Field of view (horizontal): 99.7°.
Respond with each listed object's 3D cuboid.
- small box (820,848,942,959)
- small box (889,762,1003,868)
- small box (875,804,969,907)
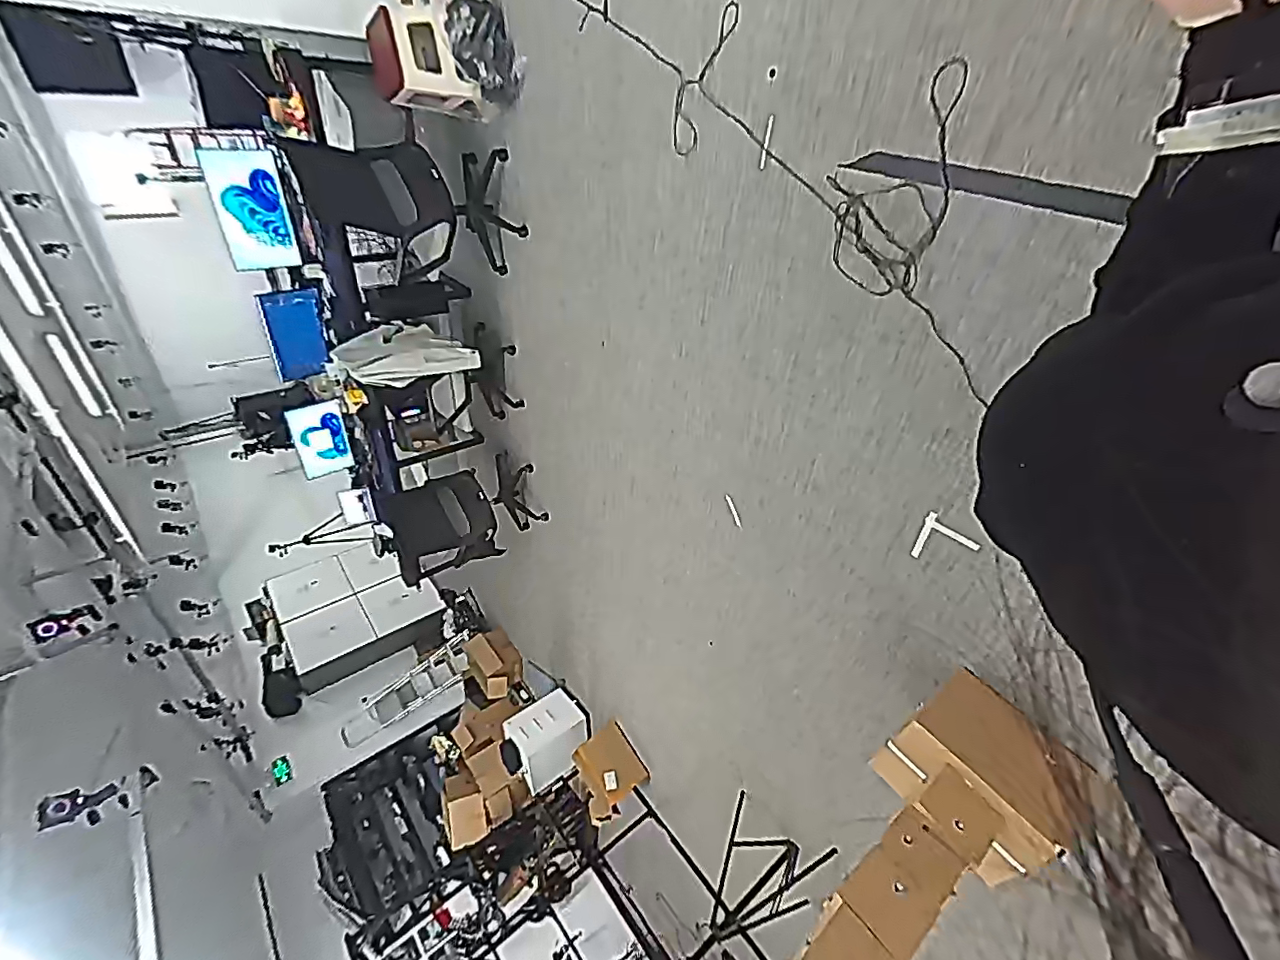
[{"bbox_3d":[0.567,1.017,1.278,0.179,0.176,0.168,38,137,38],"label":"small box"},{"bbox_3d":[0.820,0.902,1.447,0.179,0.176,0.168,46,141,30],"label":"small box"},{"bbox_3d":[0.697,0.970,1.365,0.168,0.176,0.179,33,135,42],"label":"small box"}]
